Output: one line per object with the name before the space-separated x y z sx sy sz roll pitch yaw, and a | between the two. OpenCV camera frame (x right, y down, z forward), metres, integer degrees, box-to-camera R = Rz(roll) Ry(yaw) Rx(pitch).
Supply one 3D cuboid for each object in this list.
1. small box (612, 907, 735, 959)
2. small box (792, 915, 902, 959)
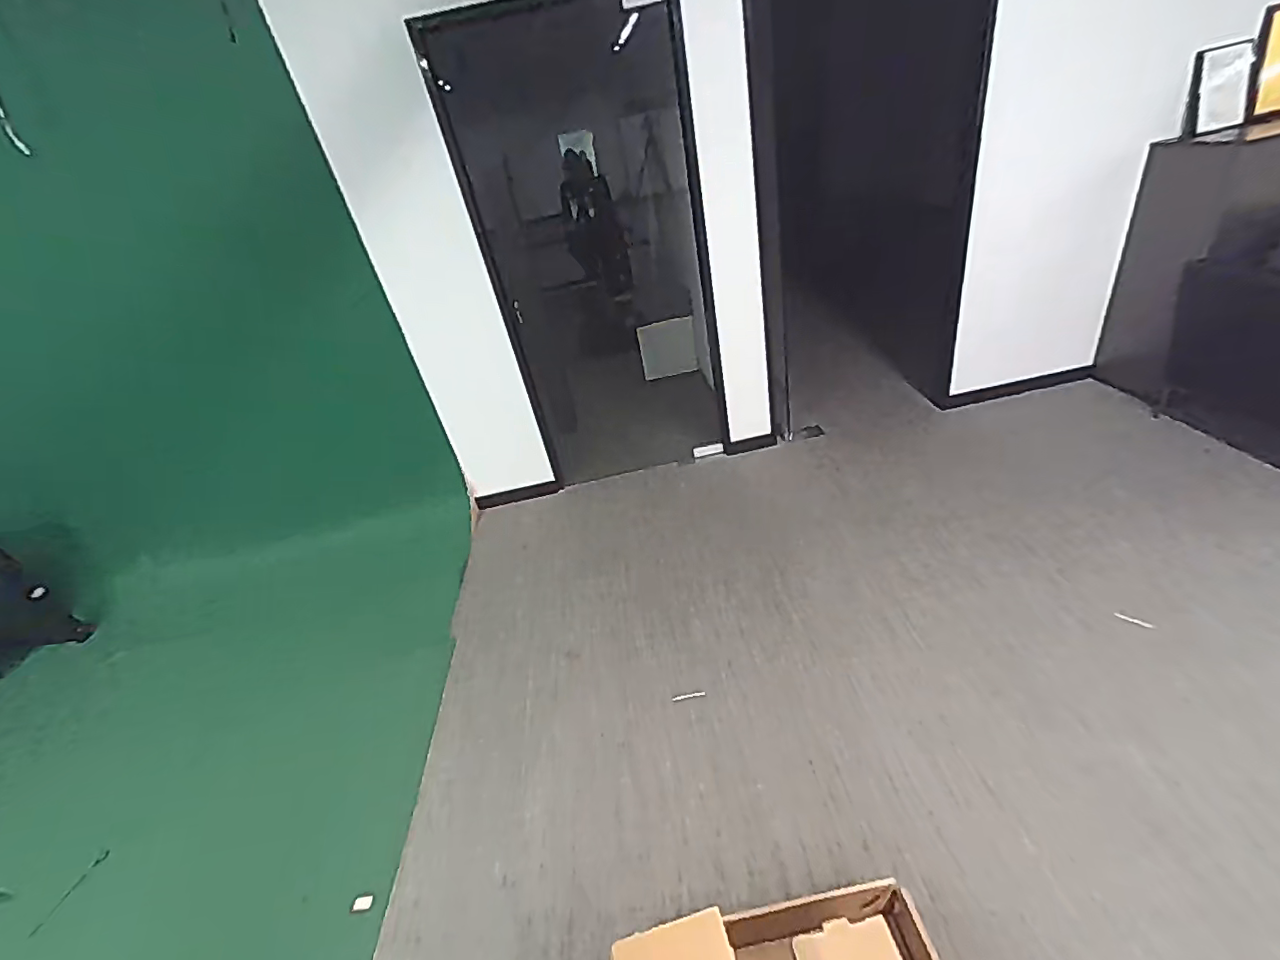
small box | 0.069 0.788 0.808 0.179 0.176 0.168 -16 34 -6
small box | 0.360 0.868 0.888 0.168 0.176 0.179 -14 32 -1
